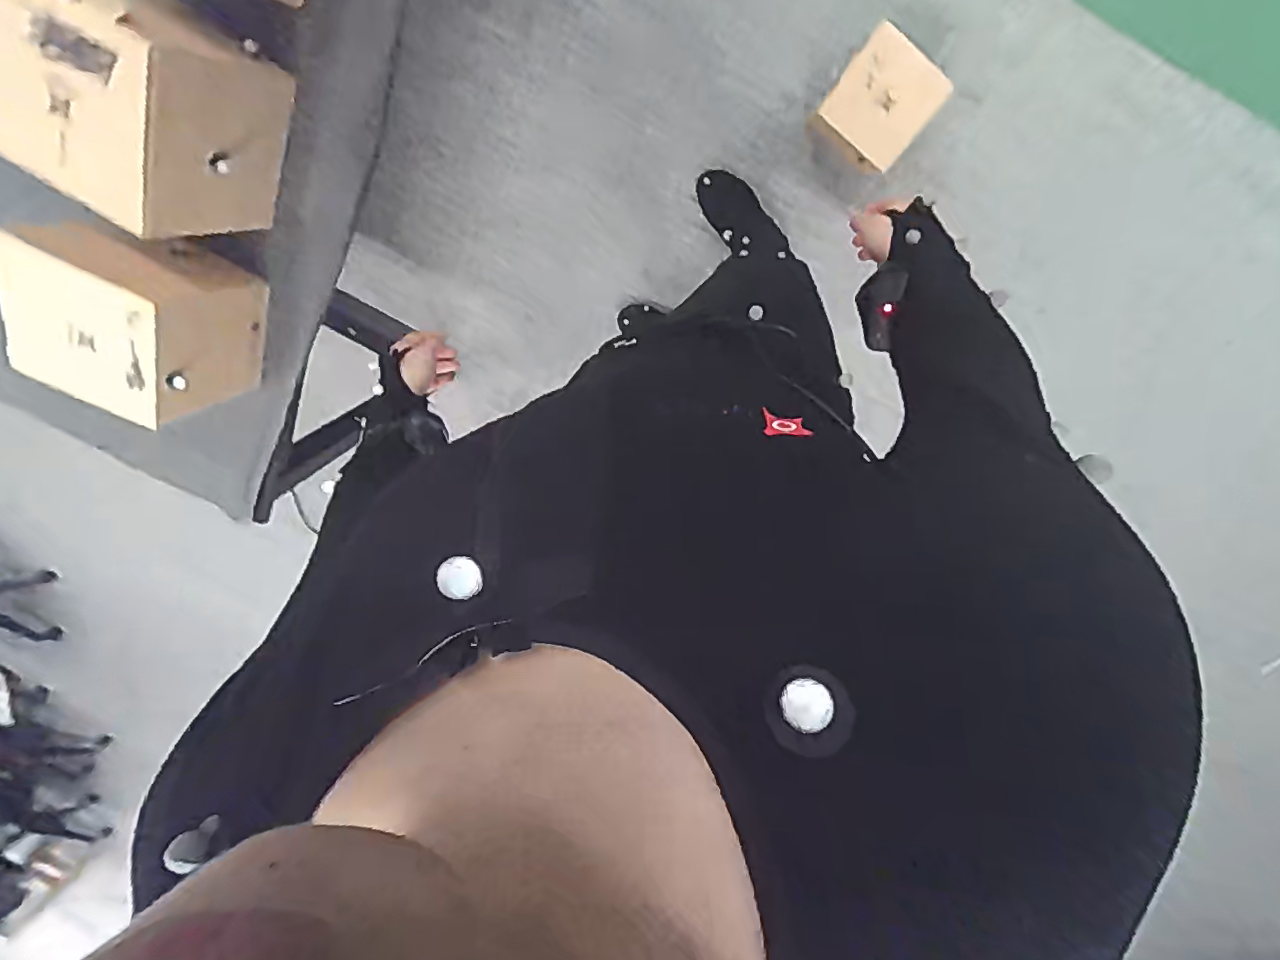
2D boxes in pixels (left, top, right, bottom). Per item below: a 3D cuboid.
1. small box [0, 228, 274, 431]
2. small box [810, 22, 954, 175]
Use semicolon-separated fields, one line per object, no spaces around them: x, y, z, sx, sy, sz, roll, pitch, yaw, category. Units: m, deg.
-0.604;-0.193;0.671;0.179;0.176;0.168;27;119;-5;small box
0.454;-0.722;1.044;0.179;0.176;0.168;35;118;-10;small box
